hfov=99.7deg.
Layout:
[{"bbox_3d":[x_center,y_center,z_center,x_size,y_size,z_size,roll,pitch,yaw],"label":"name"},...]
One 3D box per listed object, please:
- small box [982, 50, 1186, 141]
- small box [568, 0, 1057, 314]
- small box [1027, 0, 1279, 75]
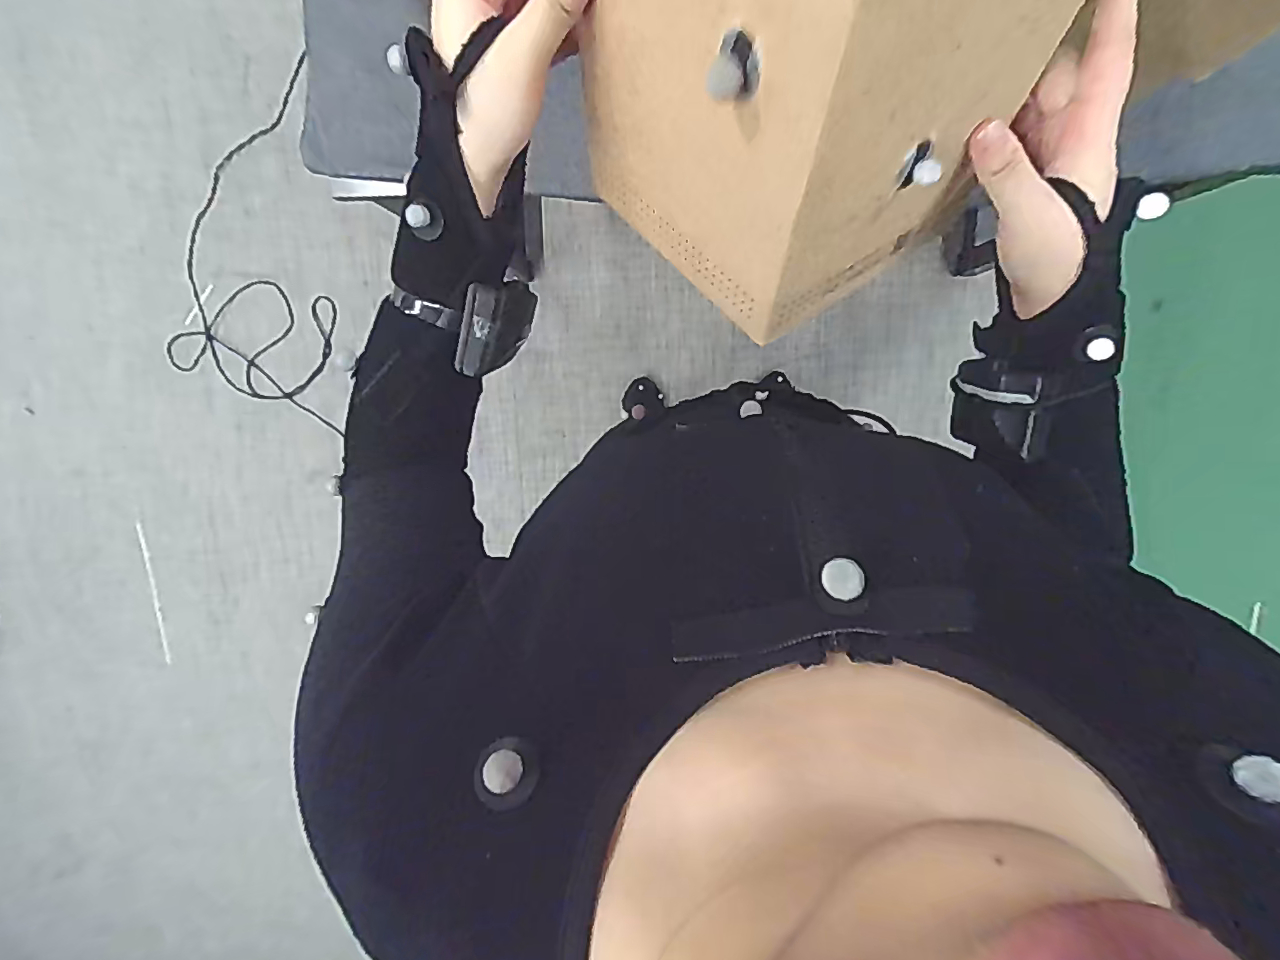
[{"bbox_3d":[0.436,-0.478,0.549,0.168,0.176,0.179,2,100,5],"label":"small box"},{"bbox_3d":[0.078,-0.217,0.287,0.168,0.176,0.179,-34,71,-12],"label":"small box"},{"bbox_3d":[0.423,-0.436,0.392,0.179,0.176,0.168,13,100,3],"label":"small box"}]
